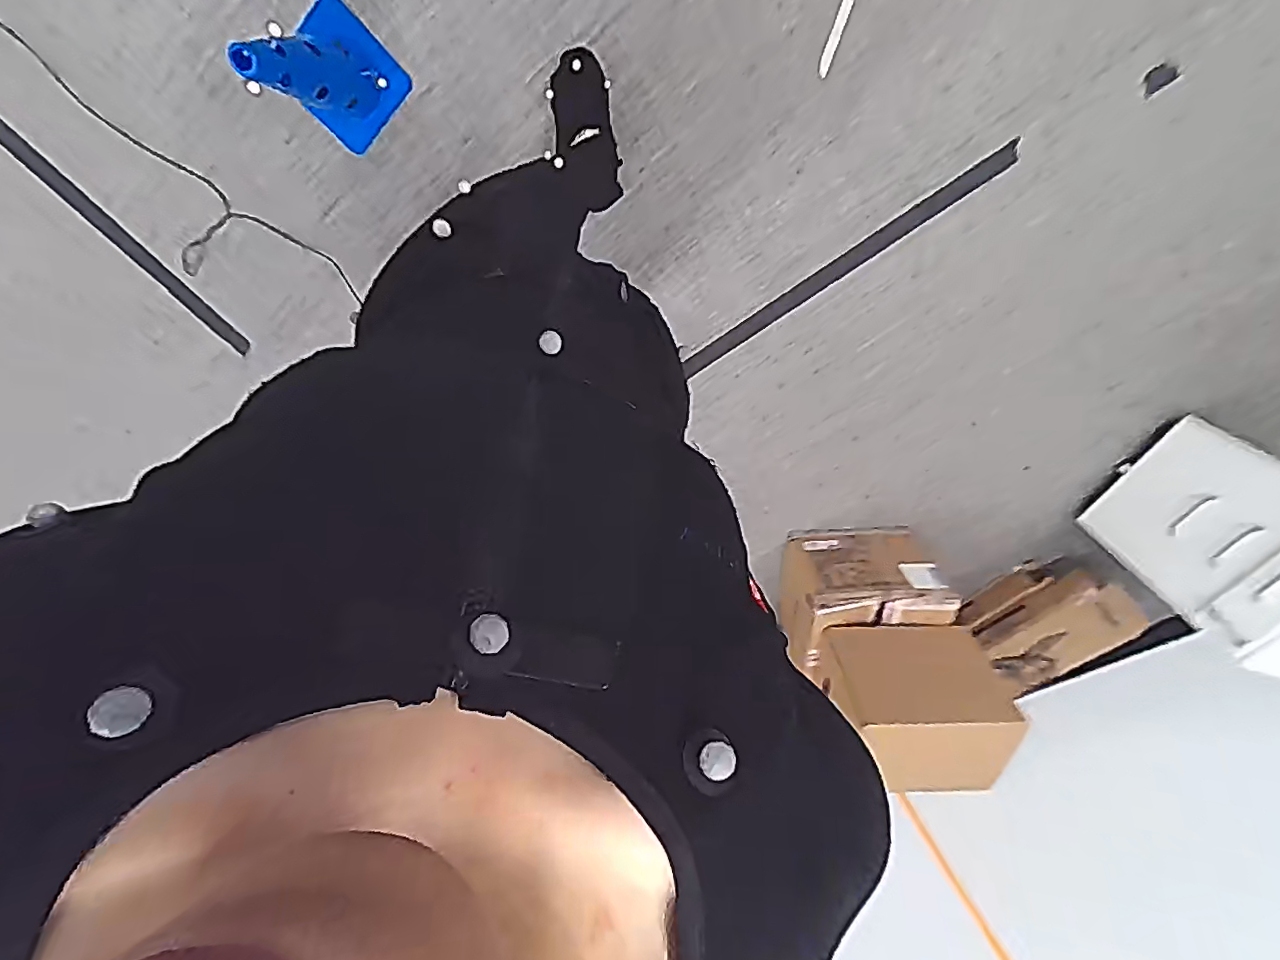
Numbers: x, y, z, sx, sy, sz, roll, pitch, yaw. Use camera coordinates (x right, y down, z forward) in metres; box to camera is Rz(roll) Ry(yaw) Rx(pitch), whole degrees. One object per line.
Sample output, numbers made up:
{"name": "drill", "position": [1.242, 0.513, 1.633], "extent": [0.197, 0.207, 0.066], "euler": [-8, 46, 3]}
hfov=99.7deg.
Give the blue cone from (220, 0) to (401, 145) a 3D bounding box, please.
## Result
{"name": "blue cone", "position": [-0.589, -0.709, 0.934], "extent": [0.192, 0.380, 0.193], "euler": [-35, 118, 20]}
